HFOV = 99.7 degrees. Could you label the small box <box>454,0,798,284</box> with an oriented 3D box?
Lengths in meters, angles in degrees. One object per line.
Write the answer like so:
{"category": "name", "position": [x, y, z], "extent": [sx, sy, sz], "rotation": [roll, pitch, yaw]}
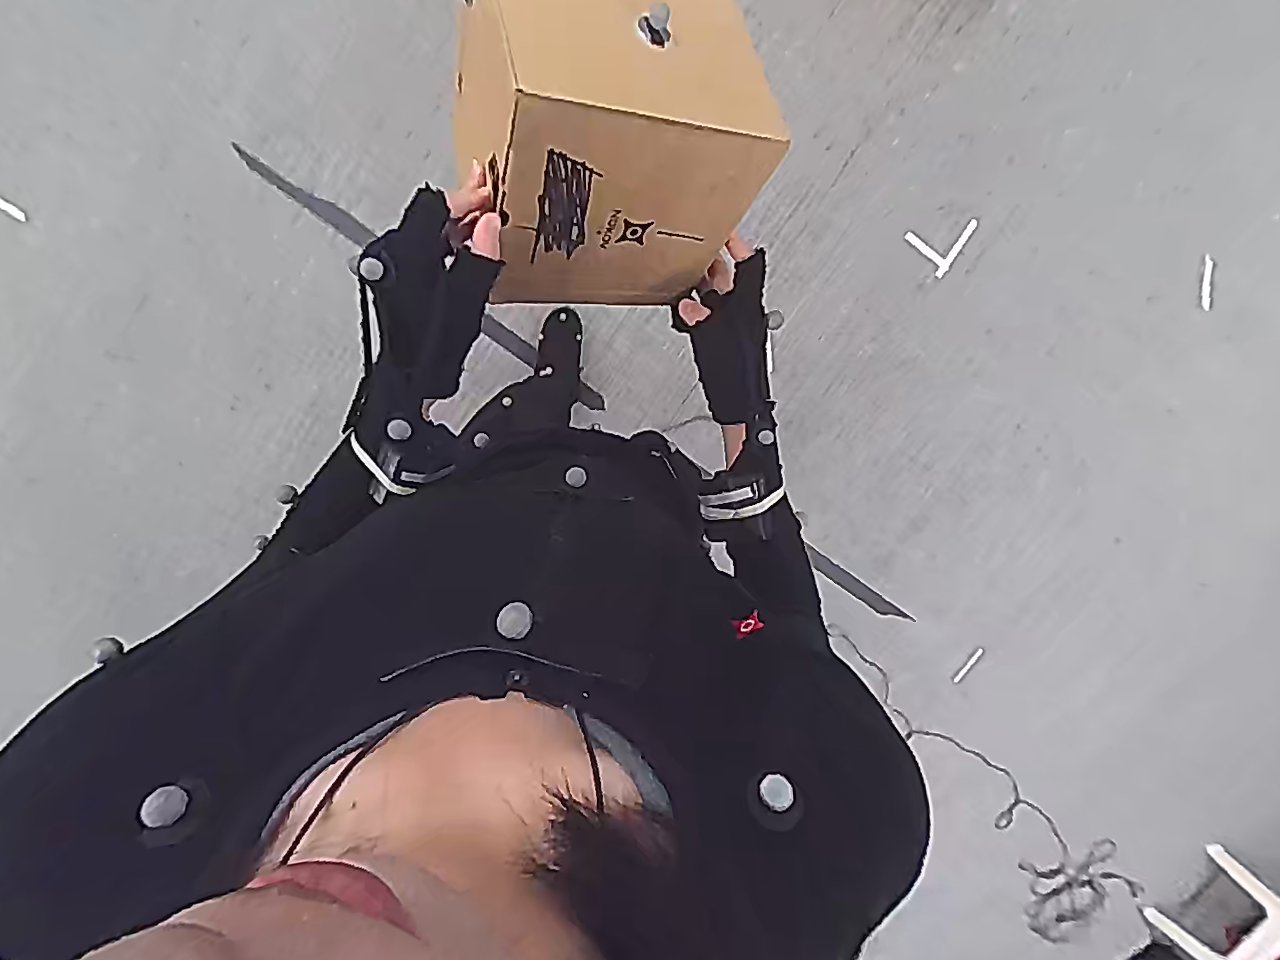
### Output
{"category": "small box", "position": [-0.029, -0.265, 0.381], "extent": [0.179, 0.168, 0.176], "rotation": [-7, 73, -24]}
